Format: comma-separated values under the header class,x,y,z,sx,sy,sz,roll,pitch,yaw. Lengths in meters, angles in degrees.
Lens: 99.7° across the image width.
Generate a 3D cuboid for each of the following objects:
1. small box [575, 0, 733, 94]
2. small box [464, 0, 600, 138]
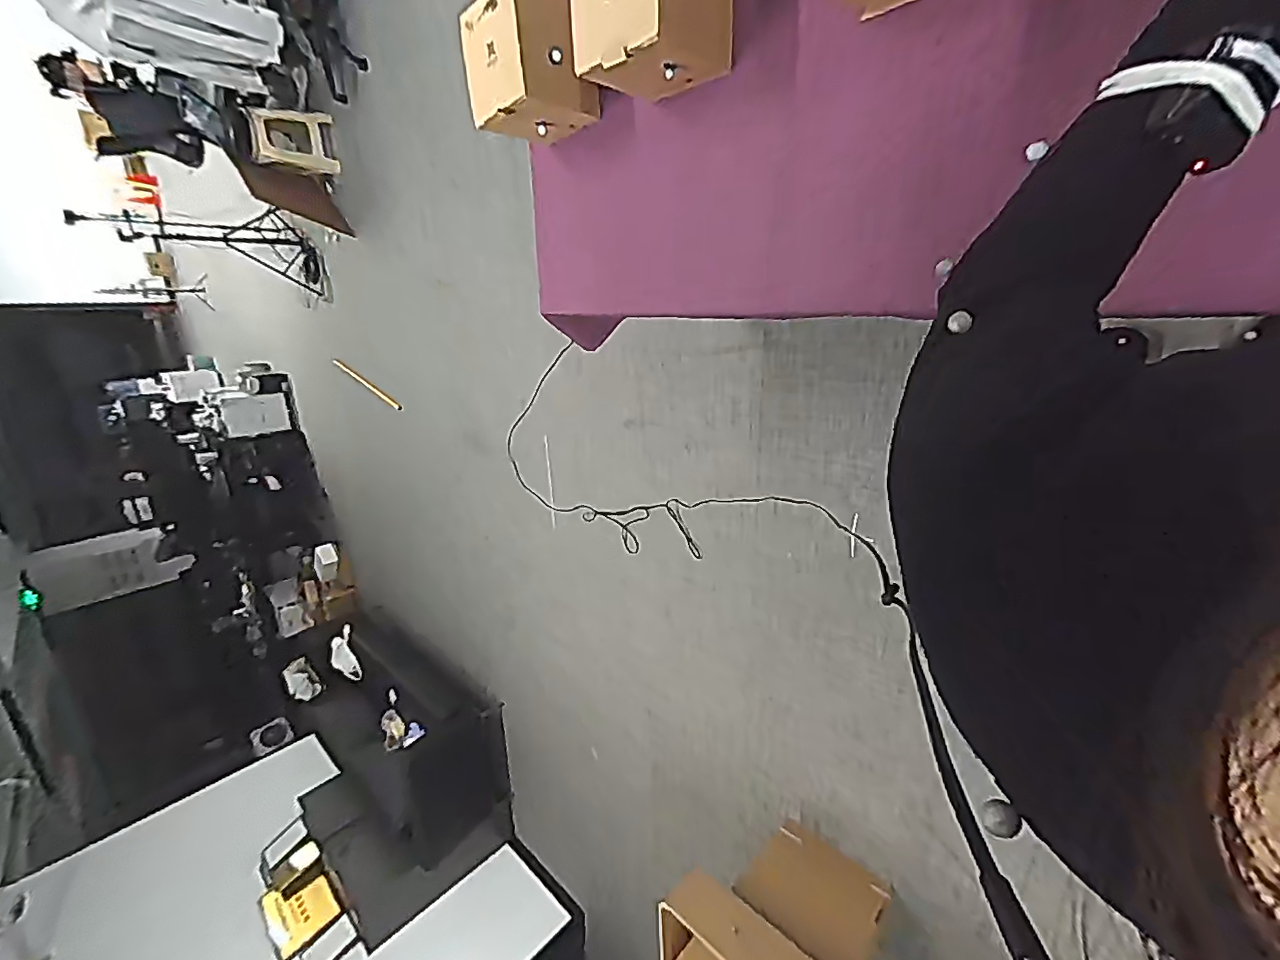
class,x,y,z,sx,sy,sz,roll,pitch,yaw
small box,0.024,-0.682,0.774,0.168,0.176,0.179,16,115,41
small box,-0.187,-0.737,0.970,0.168,0.176,0.179,9,111,43
